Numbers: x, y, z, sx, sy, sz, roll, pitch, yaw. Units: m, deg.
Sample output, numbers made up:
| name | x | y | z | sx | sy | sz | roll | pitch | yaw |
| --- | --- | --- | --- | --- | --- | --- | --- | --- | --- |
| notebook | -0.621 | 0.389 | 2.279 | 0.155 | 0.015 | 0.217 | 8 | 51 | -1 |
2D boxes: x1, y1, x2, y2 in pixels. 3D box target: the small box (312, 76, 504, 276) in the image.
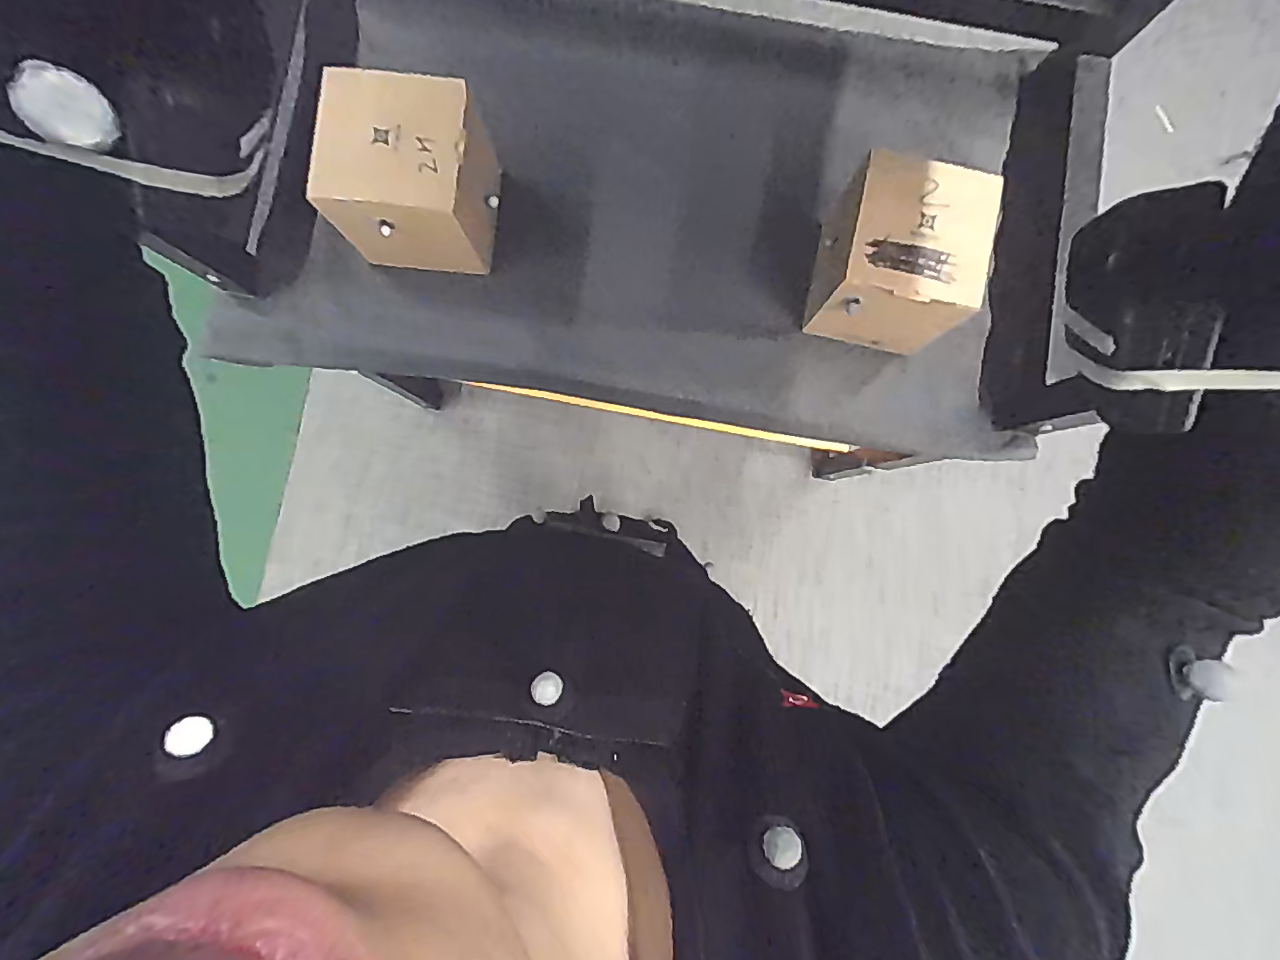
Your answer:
| name | x | y | z | sx | sy | sz | roll | pitch | yaw |
| --- | --- | --- | --- | --- | --- | --- | --- | --- | --- |
| small box | -0.296 | -0.392 | 0.725 | 0.179 | 0.176 | 0.168 | 6 | 86 | -1 |
